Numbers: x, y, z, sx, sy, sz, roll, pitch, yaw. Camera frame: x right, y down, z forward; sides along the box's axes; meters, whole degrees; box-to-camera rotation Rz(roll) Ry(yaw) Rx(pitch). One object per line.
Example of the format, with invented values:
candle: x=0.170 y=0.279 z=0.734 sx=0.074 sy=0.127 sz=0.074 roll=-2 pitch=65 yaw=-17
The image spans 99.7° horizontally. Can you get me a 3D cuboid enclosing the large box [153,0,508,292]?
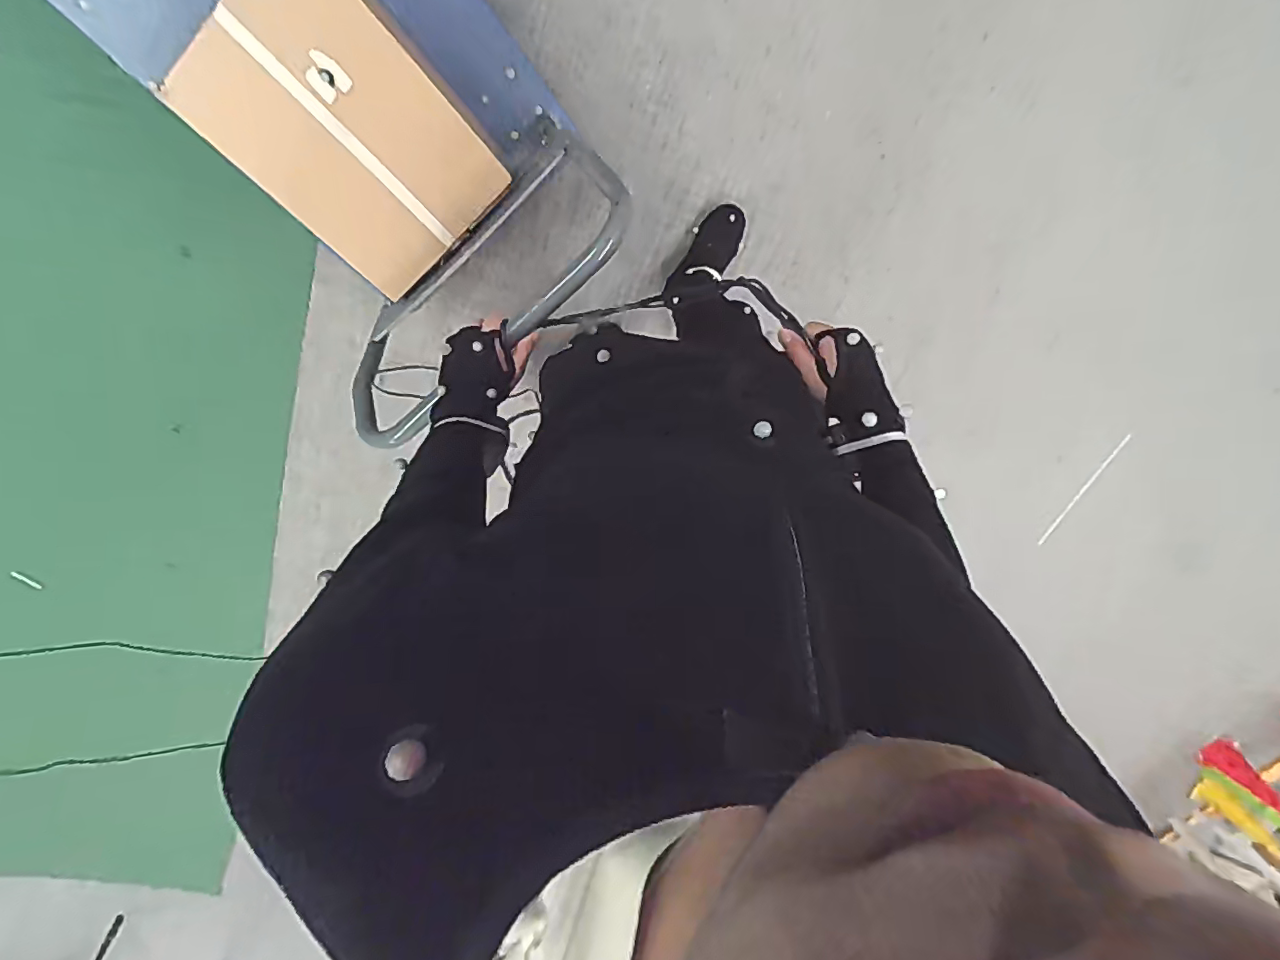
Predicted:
large box: x=-0.488 y=-0.622 z=0.962 sx=0.320 sy=0.320 sz=0.408 roll=-38 pitch=124 yaw=14
